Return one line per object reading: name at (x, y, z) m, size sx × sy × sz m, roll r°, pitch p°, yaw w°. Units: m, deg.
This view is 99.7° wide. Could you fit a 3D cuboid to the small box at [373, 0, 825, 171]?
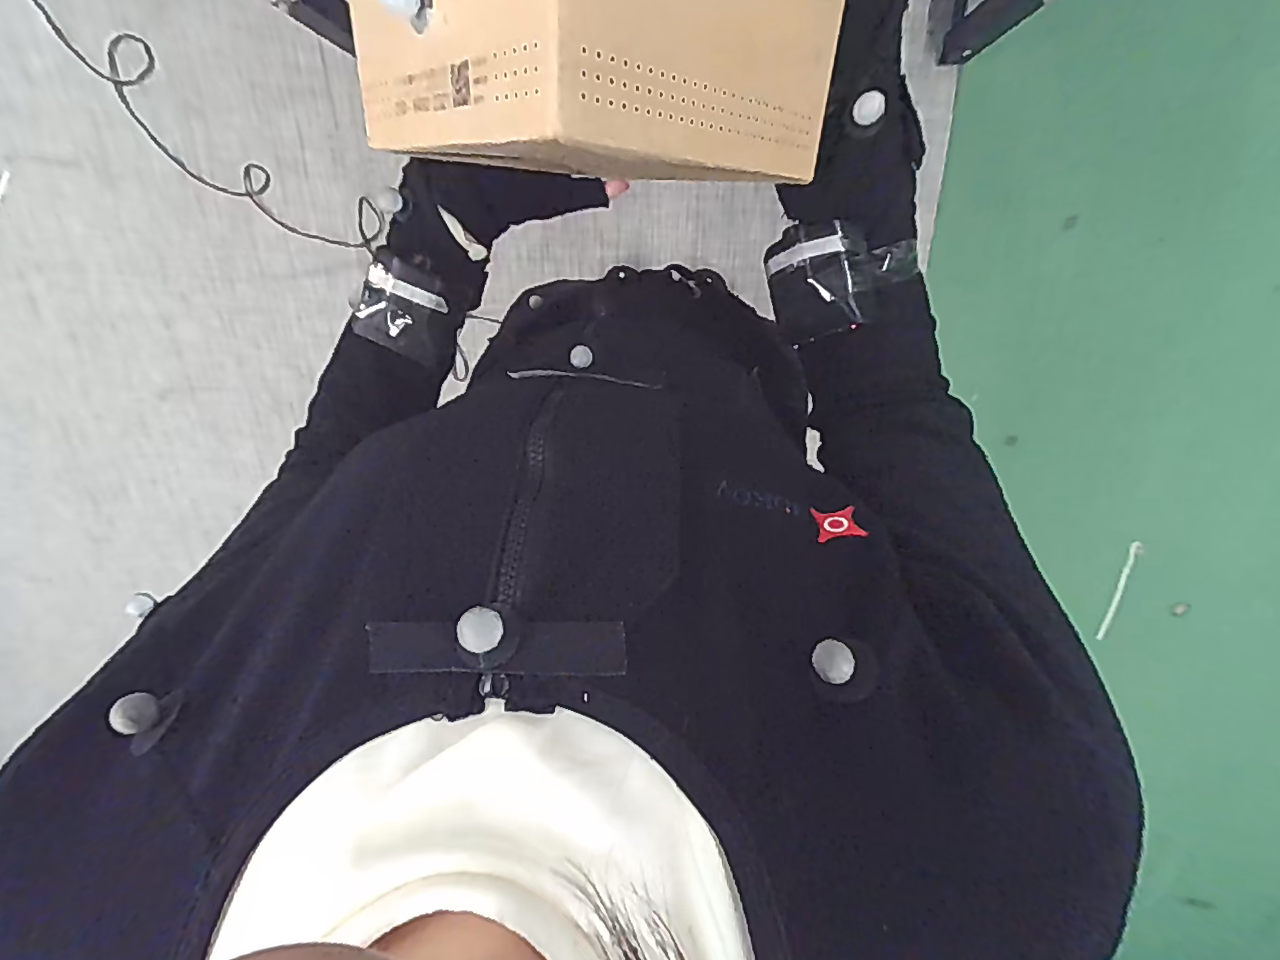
small box at (-0.020, -0.253, 0.263) m, size 0.168 × 0.179 × 0.176 m, roll 27°, pitch 125°, yaw 40°
